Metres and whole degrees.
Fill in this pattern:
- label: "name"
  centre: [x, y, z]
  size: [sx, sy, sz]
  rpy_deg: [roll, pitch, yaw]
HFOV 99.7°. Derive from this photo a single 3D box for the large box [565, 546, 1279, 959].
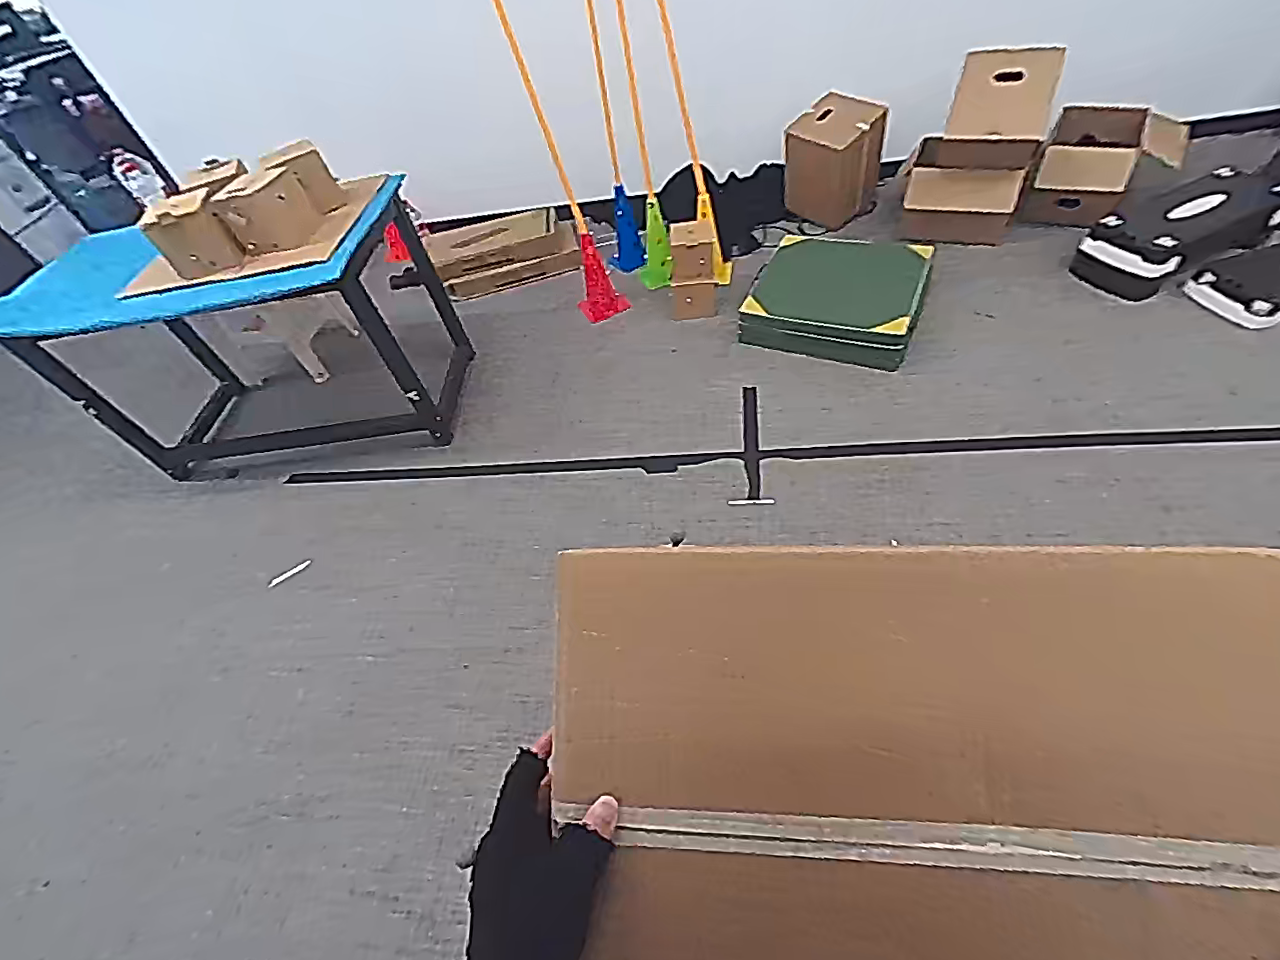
- label: "large box"
  centre: [0.170, 0.218, 0.450]
  size: [0.408, 0.320, 0.320]
  rpy_deg: [-2, 83, 8]
